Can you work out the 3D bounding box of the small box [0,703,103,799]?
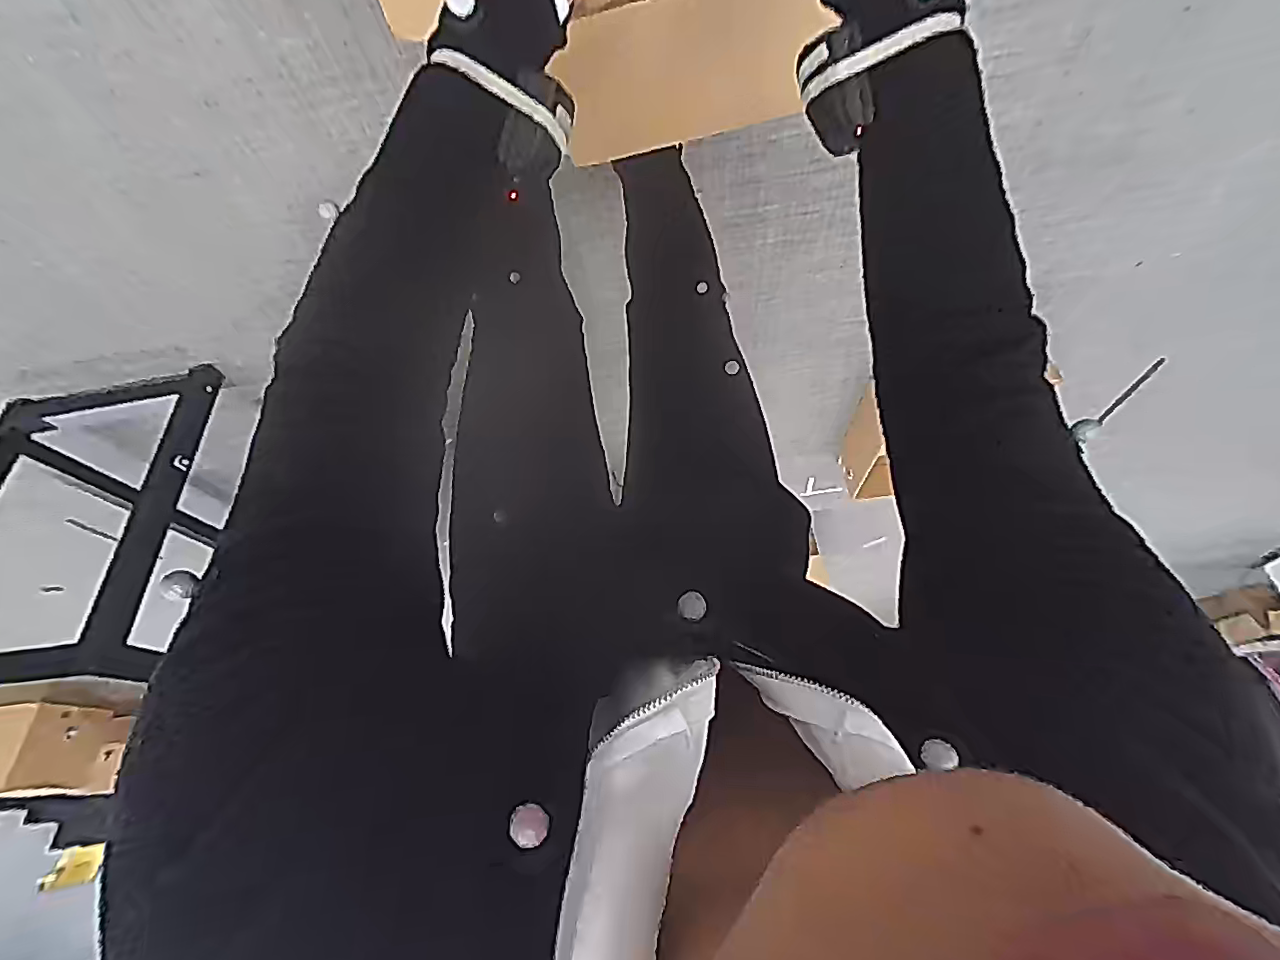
[{"bbox_3d":[-1.336,0.587,1.165,0.179,0.176,0.168,-7,152,3],"label":"small box"}]
